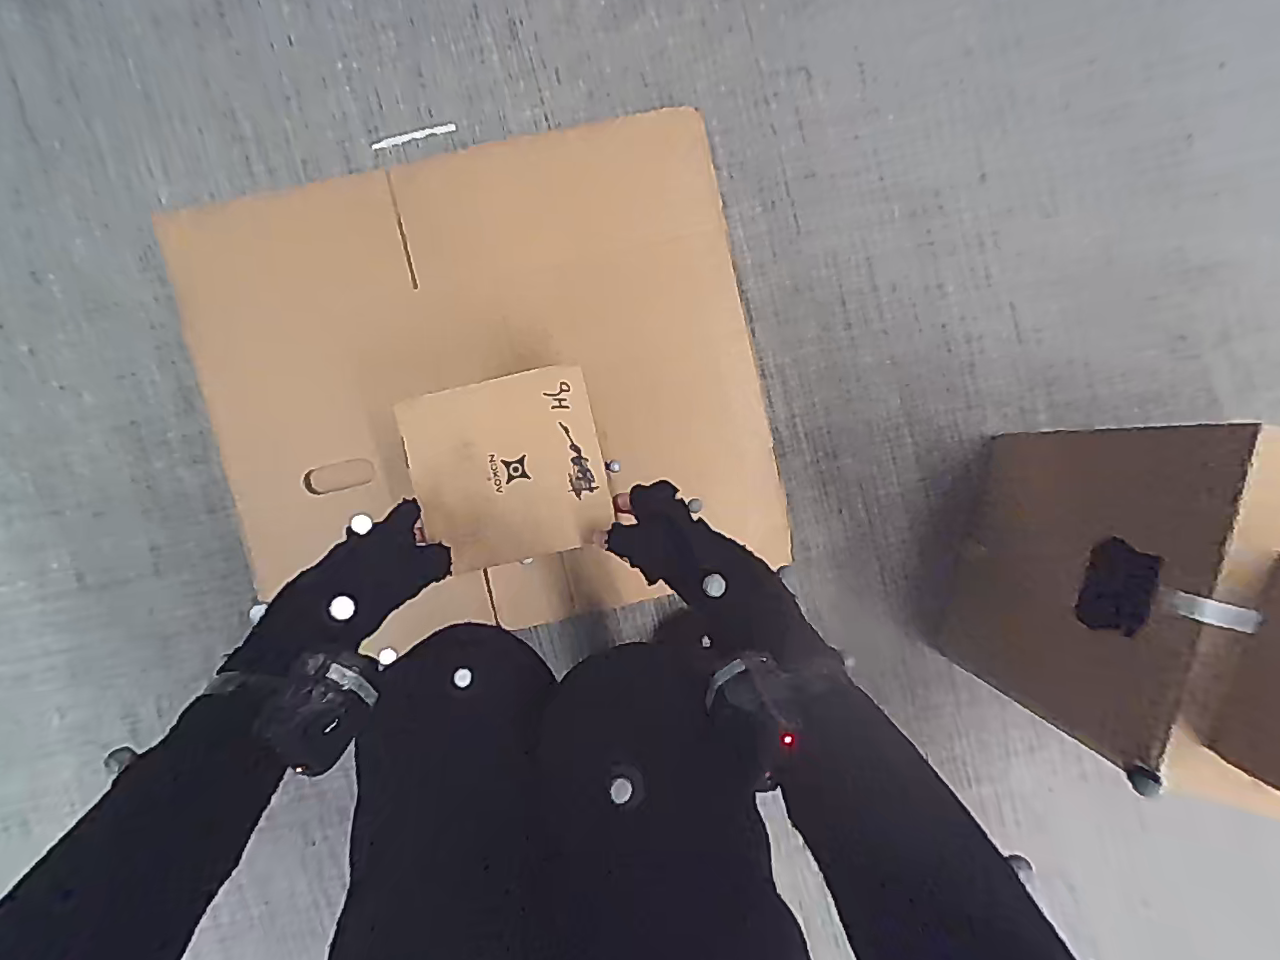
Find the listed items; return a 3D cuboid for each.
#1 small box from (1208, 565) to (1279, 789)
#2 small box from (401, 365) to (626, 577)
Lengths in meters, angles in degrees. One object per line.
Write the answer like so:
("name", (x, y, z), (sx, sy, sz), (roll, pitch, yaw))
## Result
("small box", (0.558, 0.166, 0.361), (0.168, 0.176, 0.179), (17, 94, -2))
("small box", (-0.120, -0.005, 0.583), (0.179, 0.176, 0.168), (-16, 89, 0))
